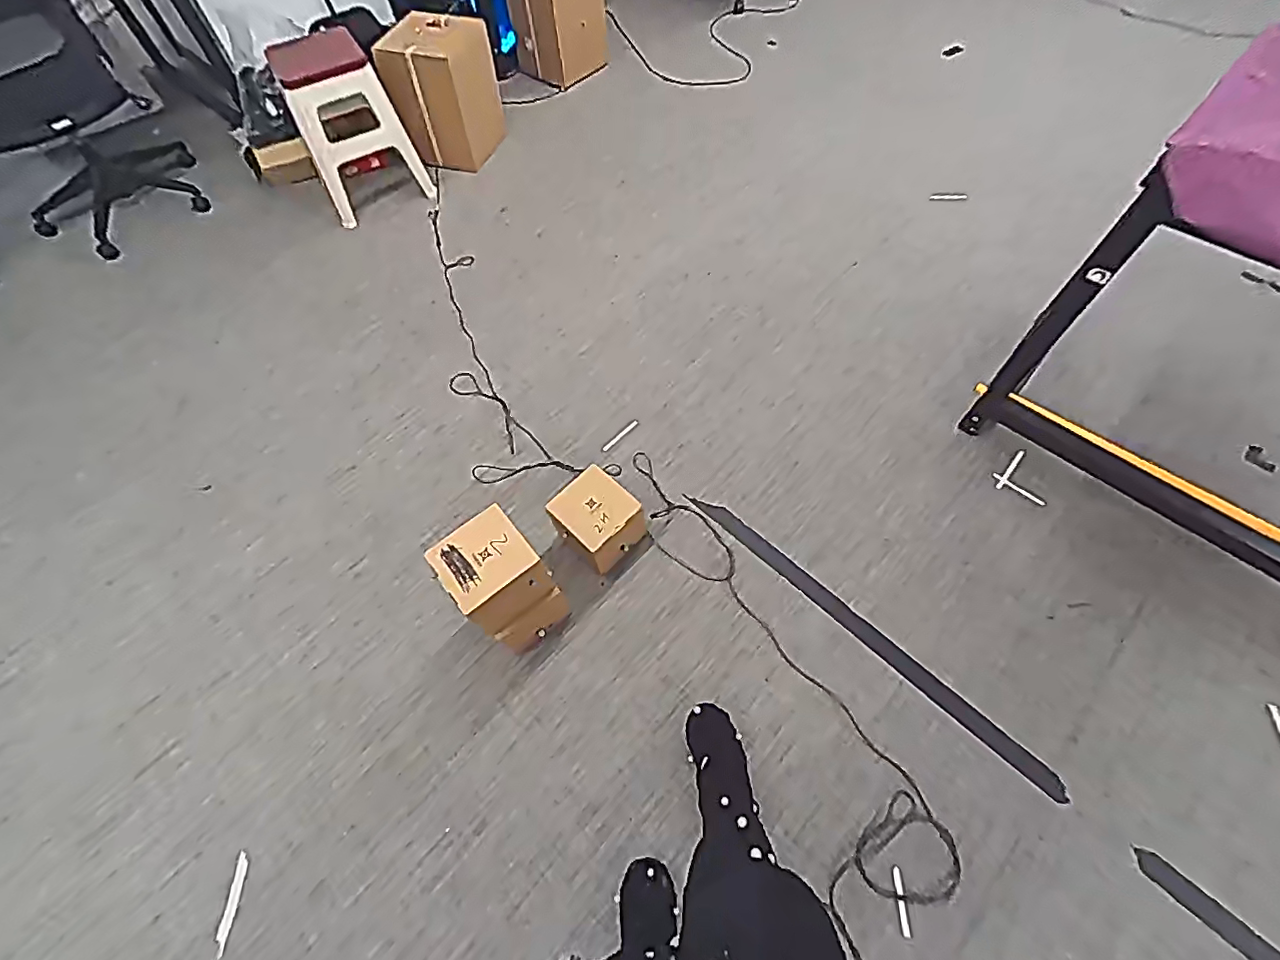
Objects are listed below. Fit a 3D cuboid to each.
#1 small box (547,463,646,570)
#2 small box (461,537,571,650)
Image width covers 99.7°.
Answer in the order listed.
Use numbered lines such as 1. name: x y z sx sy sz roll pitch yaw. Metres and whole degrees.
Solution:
1. small box: -0.103 0.098 1.353 0.179 0.176 0.168 41 72 21
2. small box: -0.284 0.272 1.266 0.168 0.176 0.179 -37 67 -16
